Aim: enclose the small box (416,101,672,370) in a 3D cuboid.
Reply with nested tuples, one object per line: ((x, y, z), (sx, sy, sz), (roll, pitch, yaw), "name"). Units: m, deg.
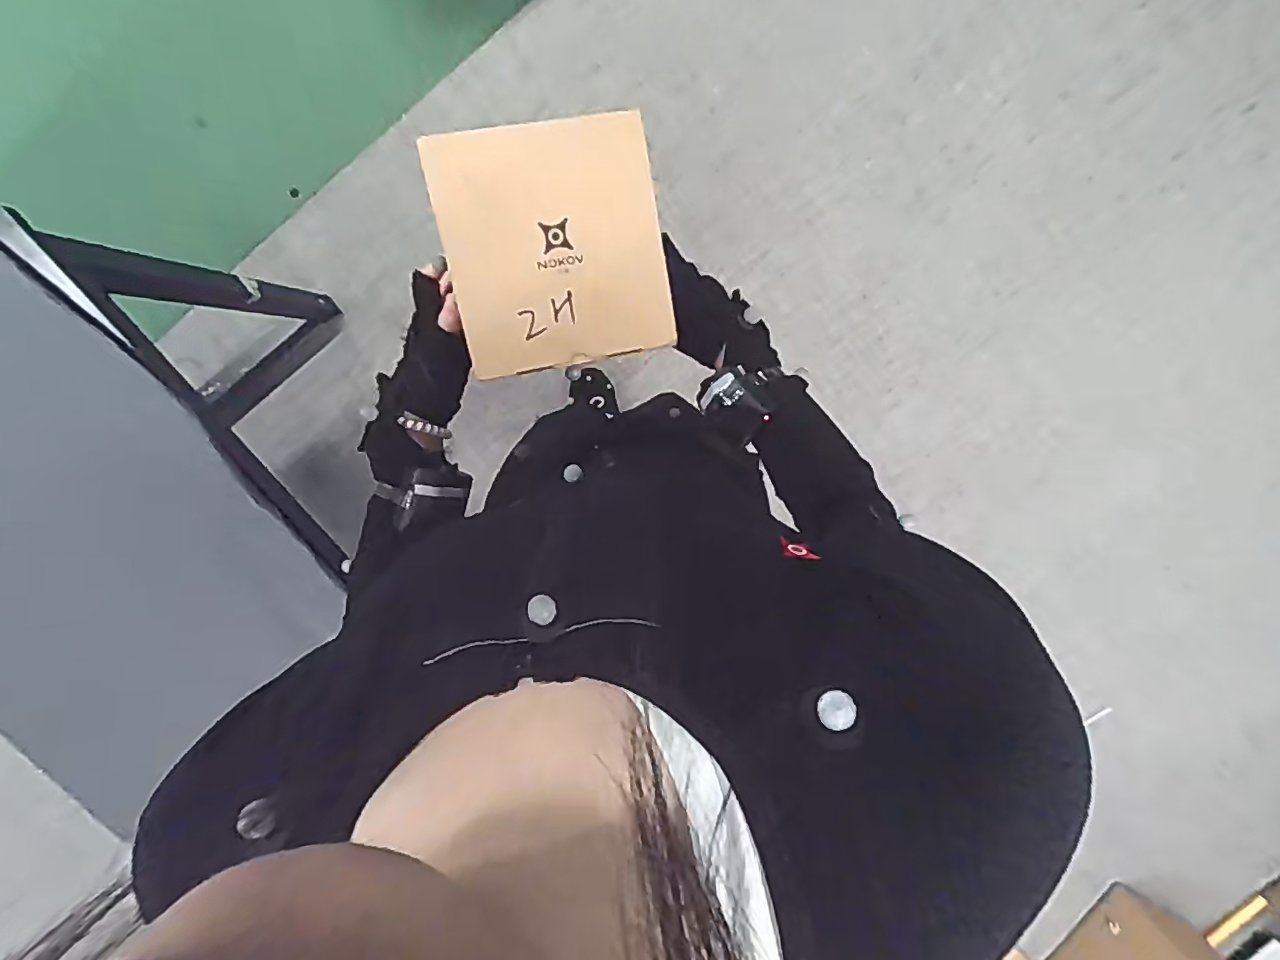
((-0.081, -0.198, 0.484), (0.168, 0.176, 0.179), (-12, 104, -8), "small box")
